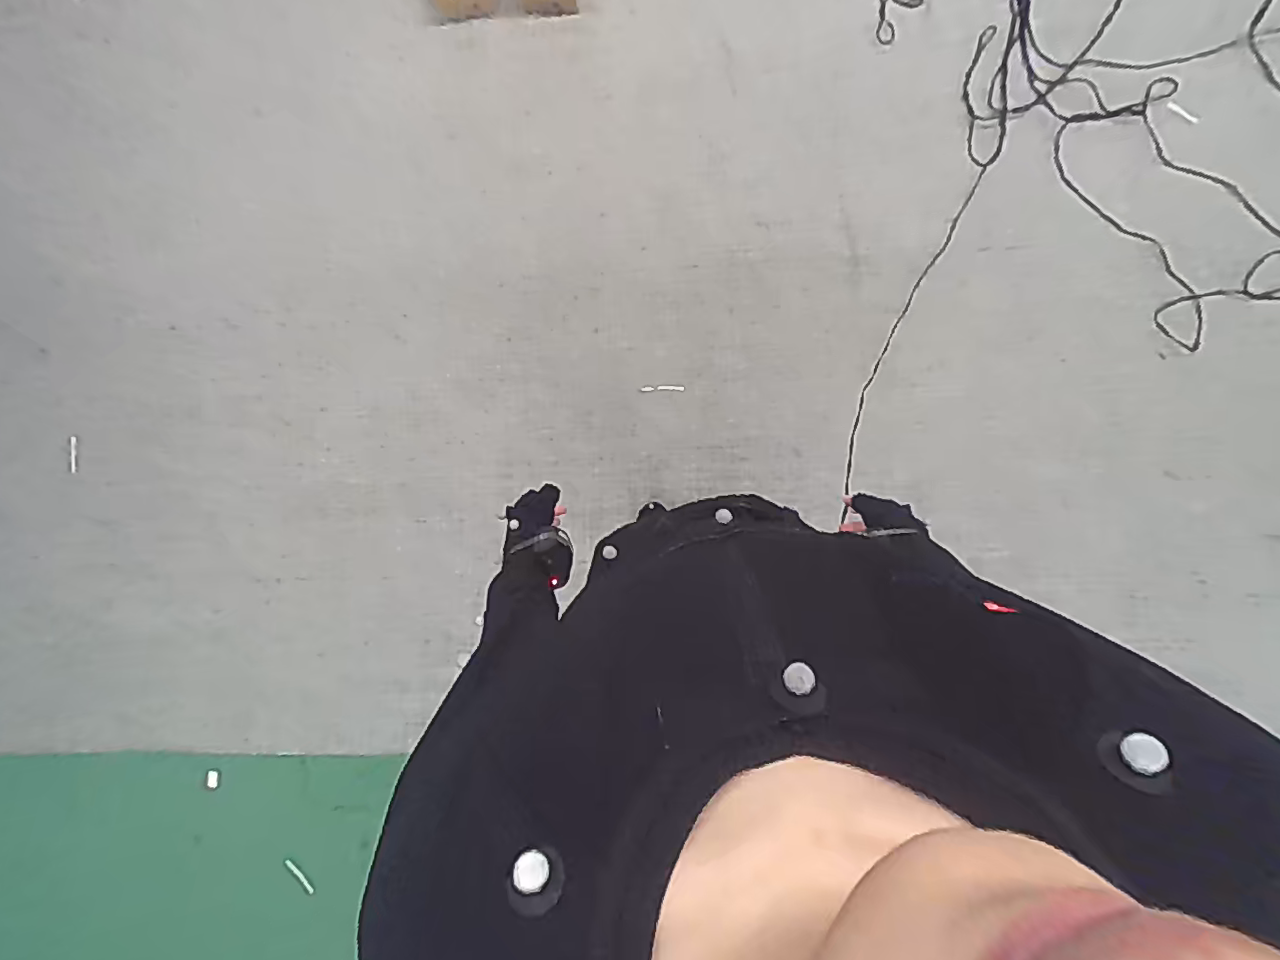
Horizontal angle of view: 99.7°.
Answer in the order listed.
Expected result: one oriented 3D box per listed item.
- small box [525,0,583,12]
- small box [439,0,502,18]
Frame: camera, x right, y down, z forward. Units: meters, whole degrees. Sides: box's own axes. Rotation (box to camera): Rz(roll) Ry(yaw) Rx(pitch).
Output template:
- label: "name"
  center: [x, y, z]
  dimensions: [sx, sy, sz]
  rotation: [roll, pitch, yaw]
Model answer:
- label: "small box"
  center: [-0.244, -1.421, 1.465]
  dimensions: [0.168, 0.176, 0.179]
  rotation: [4, 89, 4]
- label: "small box"
  center: [-0.489, -1.421, 1.484]
  dimensions: [0.168, 0.176, 0.179]
  rotation: [-7, 88, 4]
